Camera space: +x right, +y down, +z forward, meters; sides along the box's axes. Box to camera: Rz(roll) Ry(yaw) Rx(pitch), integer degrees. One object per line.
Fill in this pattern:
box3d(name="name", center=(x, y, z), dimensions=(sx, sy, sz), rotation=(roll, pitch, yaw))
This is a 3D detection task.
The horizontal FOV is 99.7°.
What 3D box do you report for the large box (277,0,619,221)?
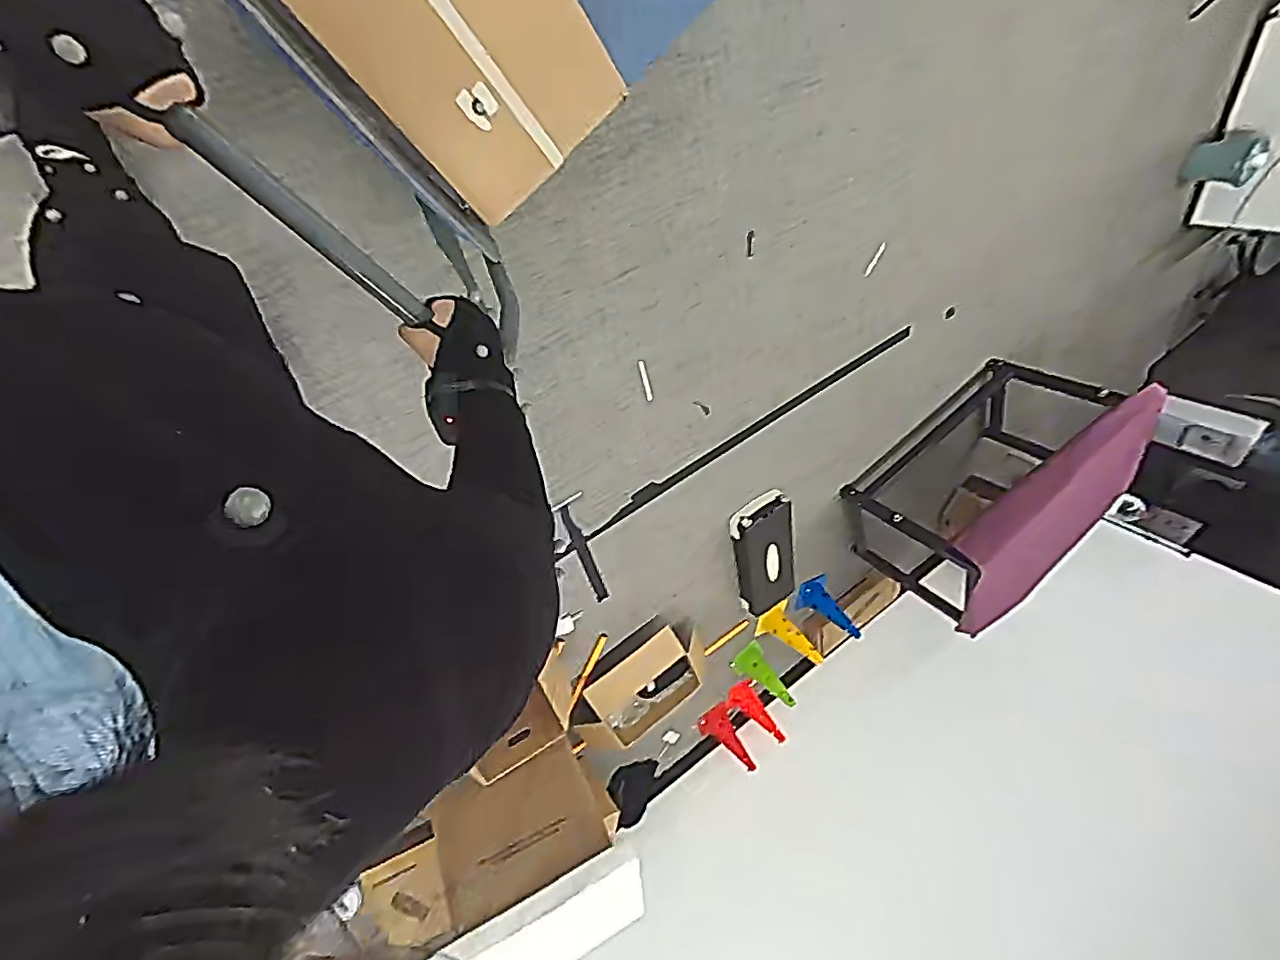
box3d(name="large box", center=(-0.309, -0.717, 0.863), dimensions=(0.320, 0.320, 0.408), rotation=(-39, 135, 9))
